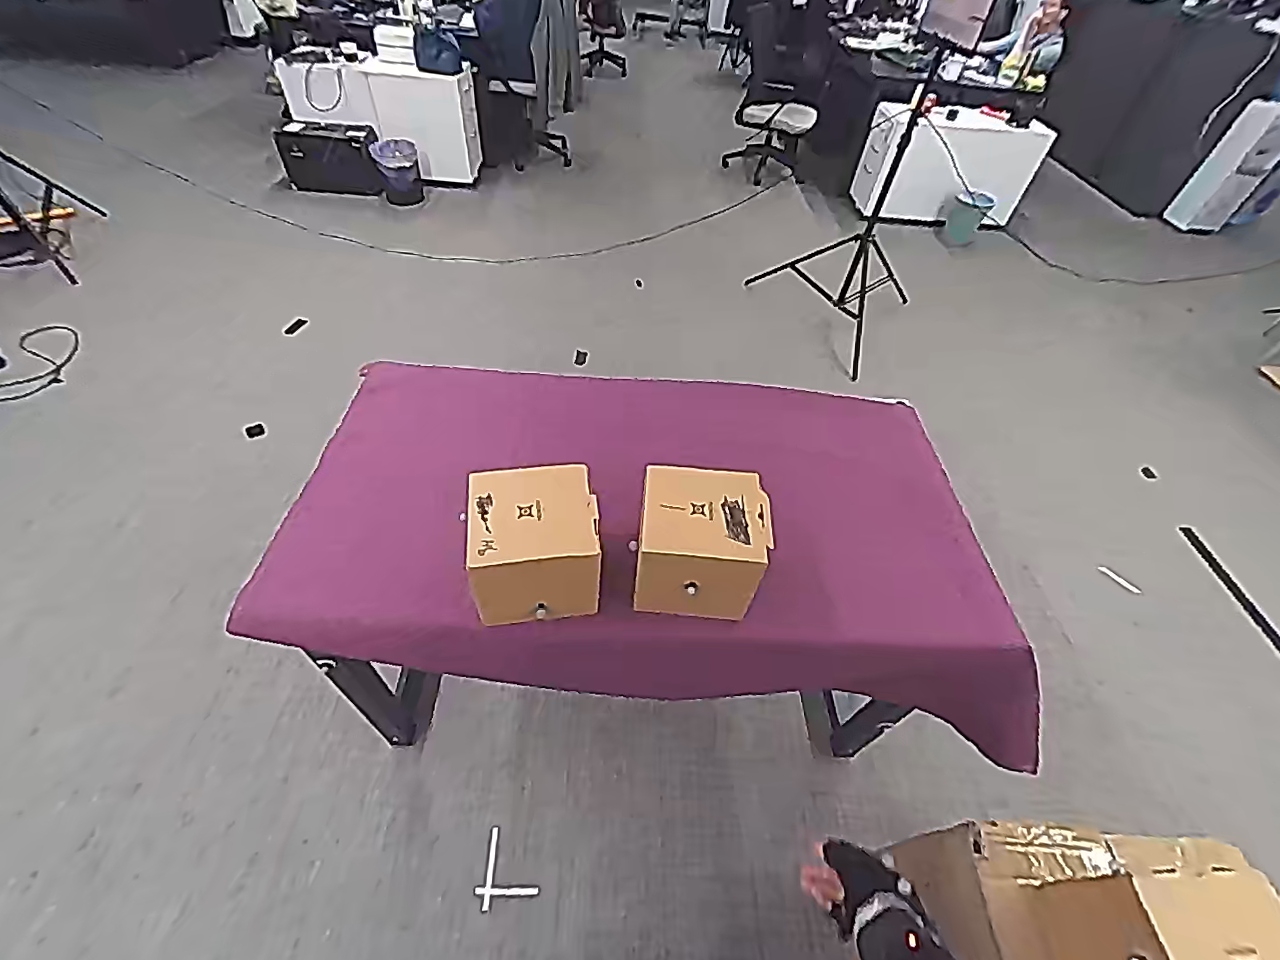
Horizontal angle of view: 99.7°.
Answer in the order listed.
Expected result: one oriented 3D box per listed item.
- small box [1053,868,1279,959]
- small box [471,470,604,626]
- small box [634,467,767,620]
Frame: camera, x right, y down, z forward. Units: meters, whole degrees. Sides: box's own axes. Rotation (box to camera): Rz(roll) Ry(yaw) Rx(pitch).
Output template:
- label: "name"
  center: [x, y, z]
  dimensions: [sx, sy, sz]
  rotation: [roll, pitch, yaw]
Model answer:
- label: "small box"
  center: [0.638, 0.567, 0.625]
  dimensions: [0.168, 0.176, 0.179]
  rotation: [0, 50, -2]
- label: "small box"
  center: [-0.156, 0.104, 0.821]
  dimensions: [0.179, 0.176, 0.168]
  rotation: [-4, 48, -11]
- label: "small box"
  center: [0.087, 0.103, 0.846]
  dimensions: [0.179, 0.176, 0.168]
  rotation: [5, 47, 0]
